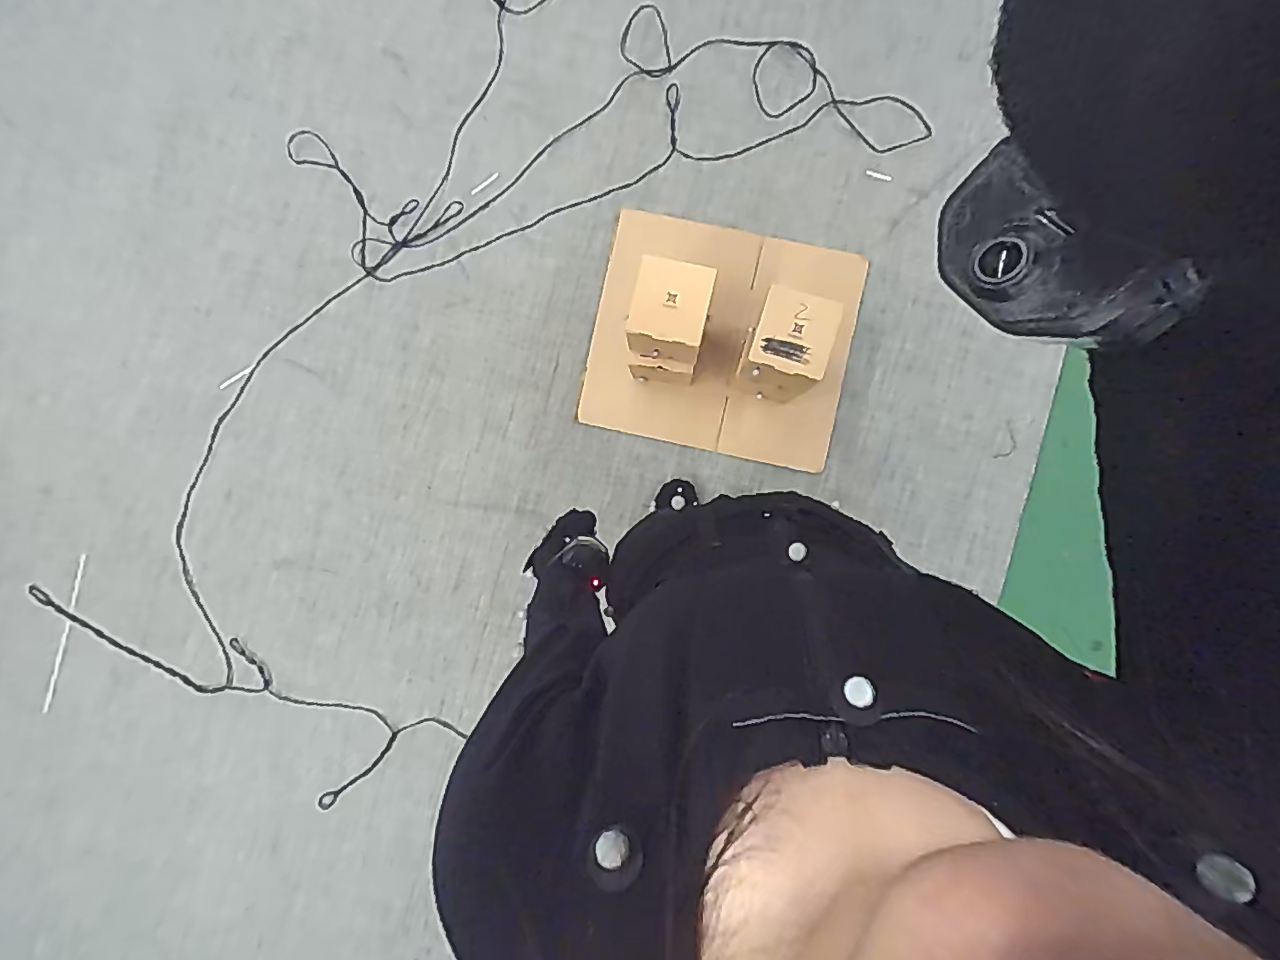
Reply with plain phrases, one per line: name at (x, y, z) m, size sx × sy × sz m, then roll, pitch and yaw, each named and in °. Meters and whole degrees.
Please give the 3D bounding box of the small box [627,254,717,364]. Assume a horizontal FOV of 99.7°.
small box at (0.070, -0.385, 1.242) m, size 0.168 × 0.176 × 0.179 m, roll 13°, pitch 90°, yaw 2°

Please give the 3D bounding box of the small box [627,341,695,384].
small box at (0.067, -0.357, 1.405) m, size 0.168 × 0.176 × 0.179 m, roll 10°, pitch 90°, yaw 3°

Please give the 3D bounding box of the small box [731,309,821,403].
small box at (0.342, -0.313, 1.395) m, size 0.168 × 0.176 × 0.179 m, roll 17°, pitch 91°, yaw 4°
